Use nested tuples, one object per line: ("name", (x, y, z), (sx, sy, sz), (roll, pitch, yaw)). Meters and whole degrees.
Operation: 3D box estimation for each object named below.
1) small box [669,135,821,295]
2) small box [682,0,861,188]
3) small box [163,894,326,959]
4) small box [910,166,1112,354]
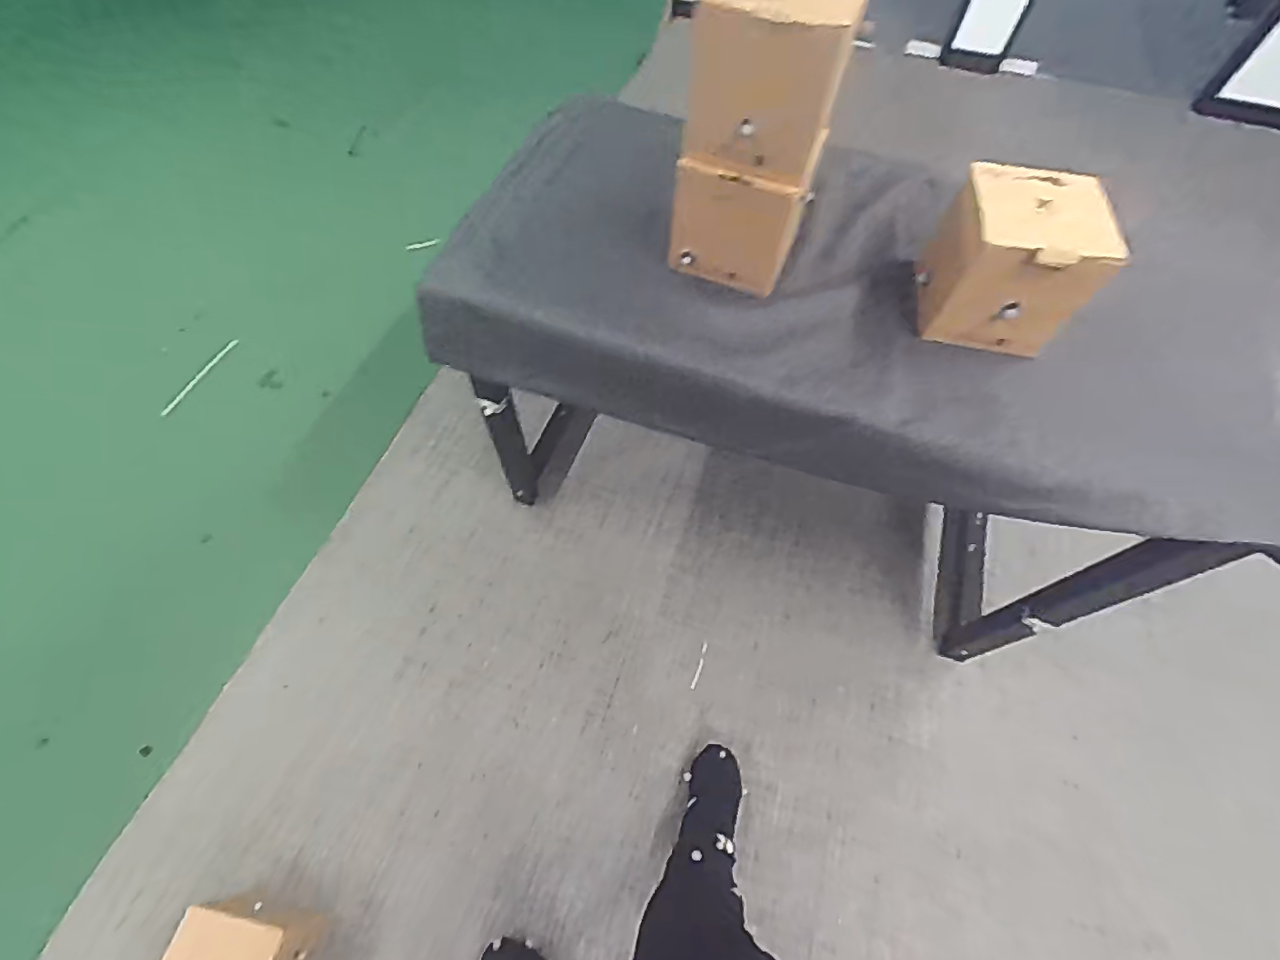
("small box", (0.149, -0.412, 0.814), (0.168, 0.176, 0.179), (21, 61, 9))
("small box", (0.158, -0.508, 0.679), (0.168, 0.176, 0.179), (19, 61, 9))
("small box", (-0.679, 0.829, 0.917), (0.179, 0.176, 0.168), (10, 59, 5))
("small box", (0.502, -0.303, 0.764), (0.168, 0.176, 0.179), (11, 61, 4))
